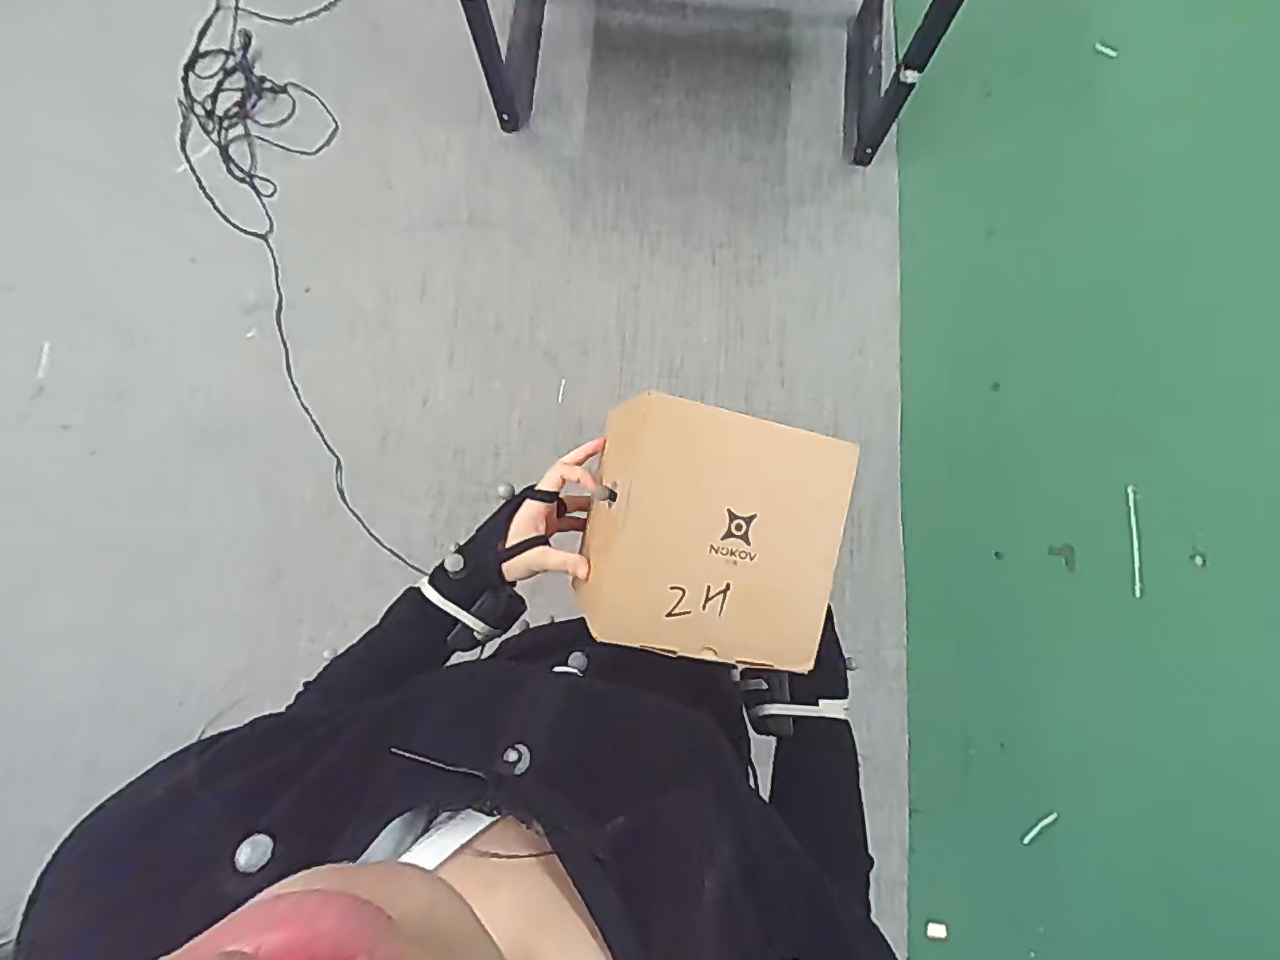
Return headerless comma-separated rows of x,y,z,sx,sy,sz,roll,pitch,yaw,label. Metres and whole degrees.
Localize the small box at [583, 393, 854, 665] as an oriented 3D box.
0.051,0.037,0.470,0.168,0.176,0.179,12,90,-13,small box
